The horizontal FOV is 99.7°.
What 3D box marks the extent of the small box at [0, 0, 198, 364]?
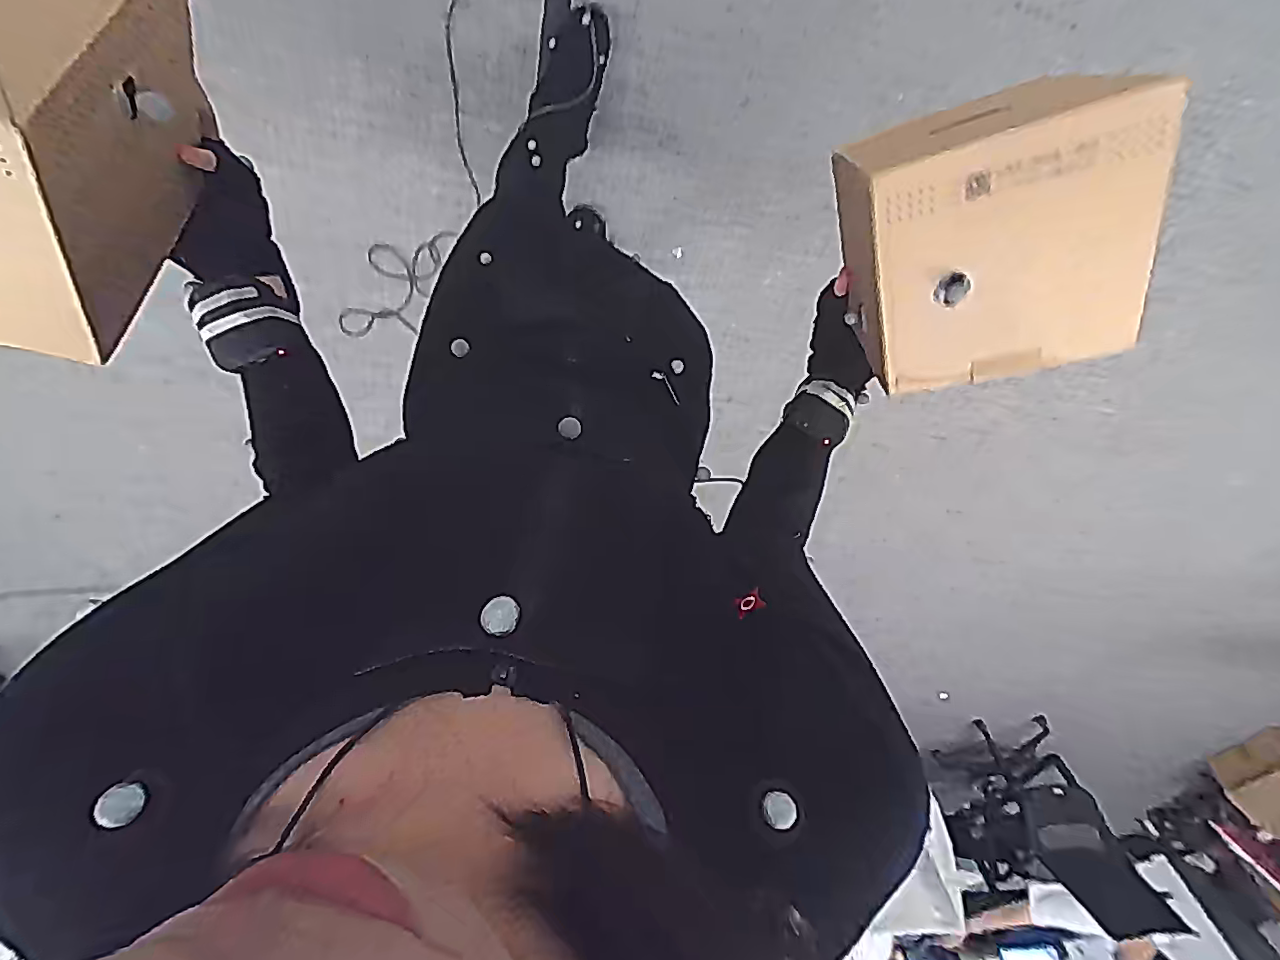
[{"bbox_3d":[-0.345,-0.193,0.257,0.168,0.179,0.176,15,146,-29],"label":"small box"}]
